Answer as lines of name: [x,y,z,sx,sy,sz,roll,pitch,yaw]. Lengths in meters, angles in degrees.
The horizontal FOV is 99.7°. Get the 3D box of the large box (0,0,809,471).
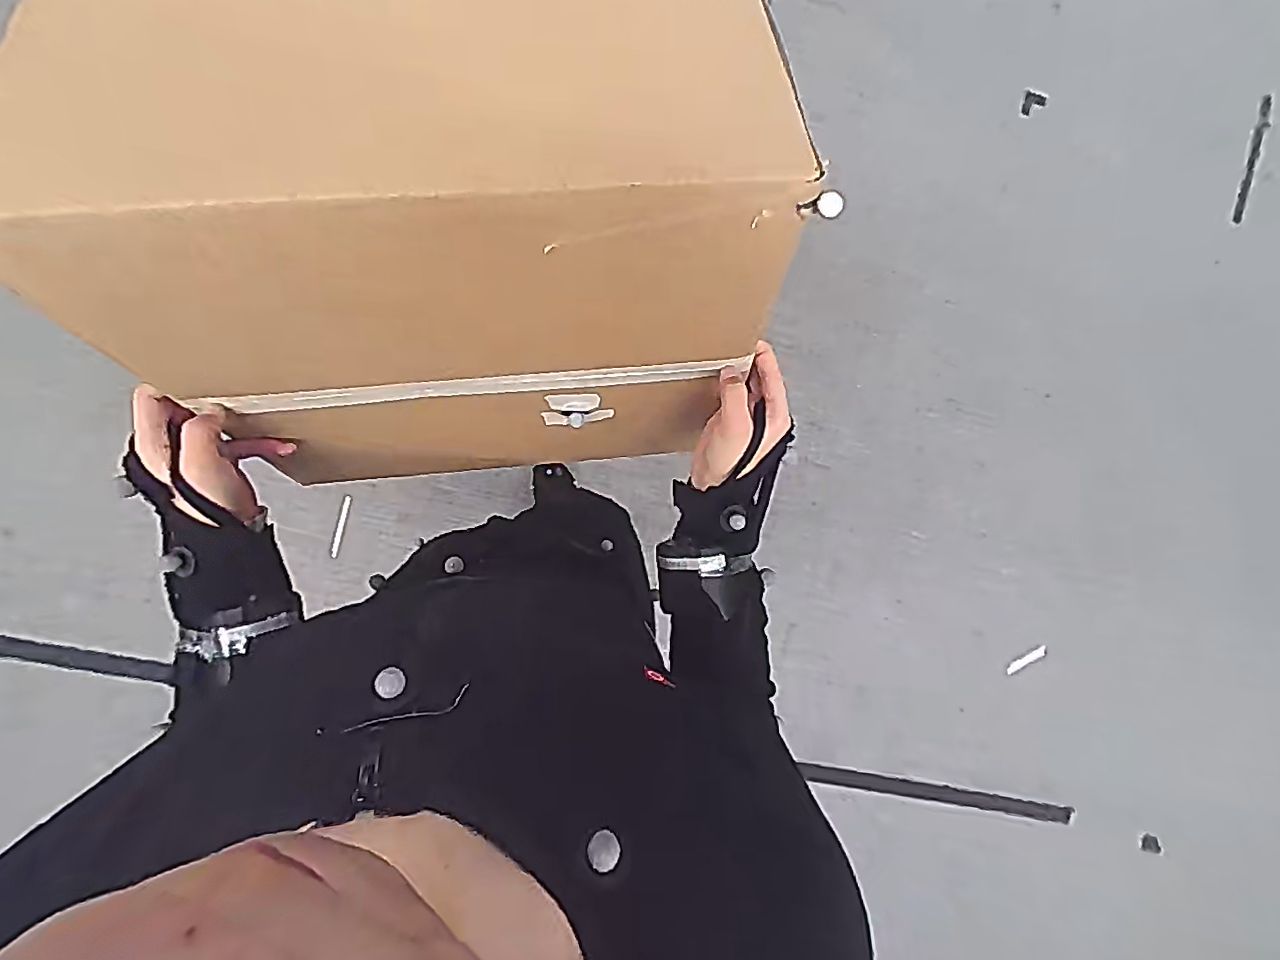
large box: [-0.134,-0.223,0.453,0.408,0.320,0.320,-6,70,-5]
